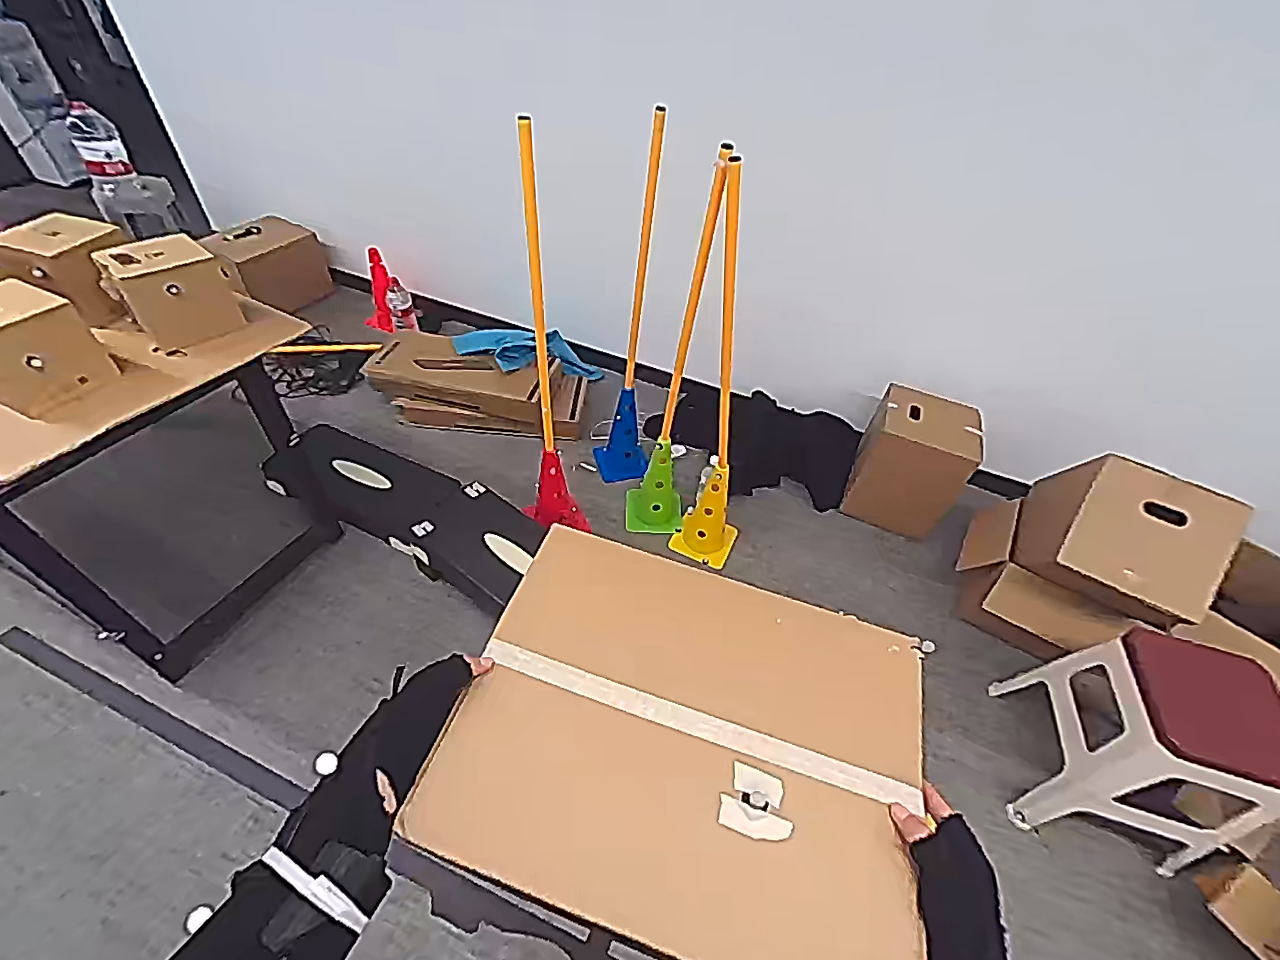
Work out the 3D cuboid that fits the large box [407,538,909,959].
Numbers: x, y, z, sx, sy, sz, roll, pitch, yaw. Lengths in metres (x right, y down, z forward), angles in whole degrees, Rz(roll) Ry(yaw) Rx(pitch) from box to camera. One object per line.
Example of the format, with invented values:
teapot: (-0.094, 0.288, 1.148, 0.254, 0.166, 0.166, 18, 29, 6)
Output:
large box: (0.031, 0.323, 0.609, 0.408, 0.320, 0.320, 17, 51, 8)
